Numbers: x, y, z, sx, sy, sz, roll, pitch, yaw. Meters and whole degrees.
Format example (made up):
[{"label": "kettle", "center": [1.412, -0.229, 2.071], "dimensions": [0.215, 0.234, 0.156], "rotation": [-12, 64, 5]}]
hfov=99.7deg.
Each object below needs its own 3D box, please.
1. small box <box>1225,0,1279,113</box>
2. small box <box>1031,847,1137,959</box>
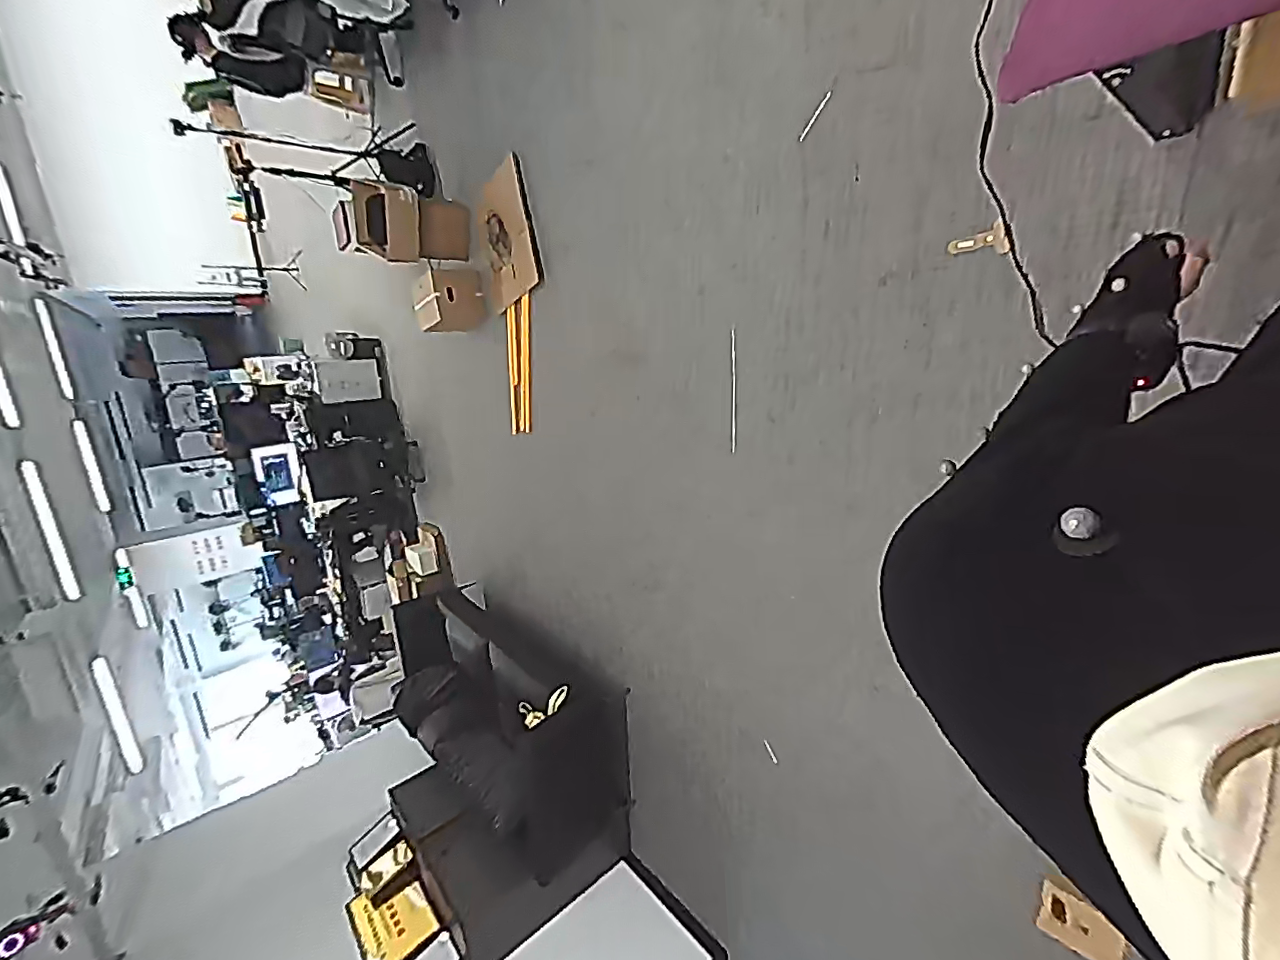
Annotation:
[{"label": "small box", "center": [1.133, -0.747, 0.905], "dimensions": [0.179, 0.176, 0.168], "rotation": [14, 112, 48]}, {"label": "small box", "center": [1.187, 1.134, 1.448], "dimensions": [0.179, 0.176, 0.168], "rotation": [15, 113, 47]}]
